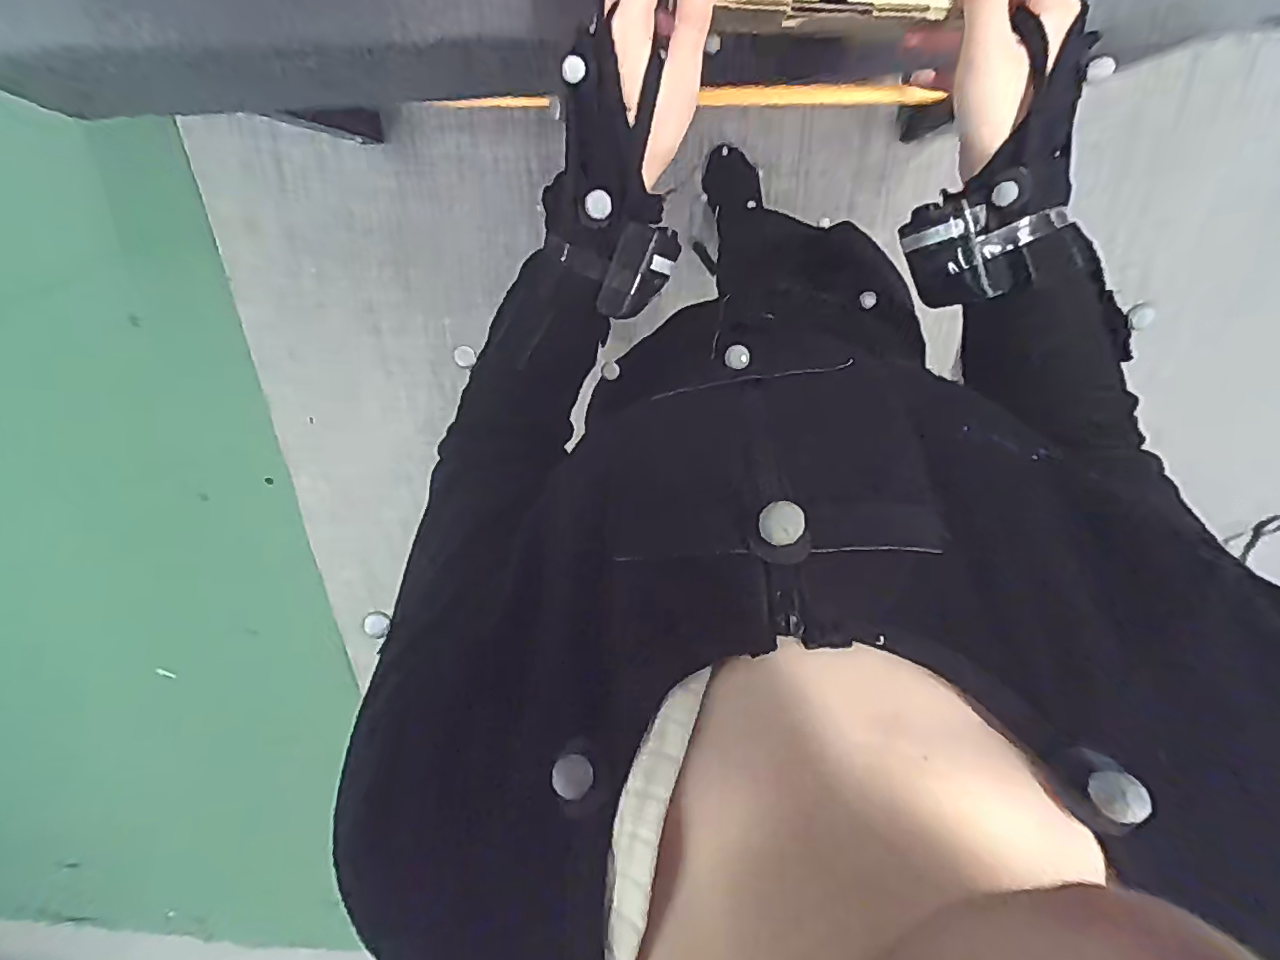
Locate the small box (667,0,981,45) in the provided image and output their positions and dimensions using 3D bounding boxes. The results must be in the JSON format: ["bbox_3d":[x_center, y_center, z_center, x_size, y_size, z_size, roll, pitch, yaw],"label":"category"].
[{"bbox_3d":[0.103,-0.362,0.302,0.168,0.176,0.179,2,126,-1],"label":"small box"}]
